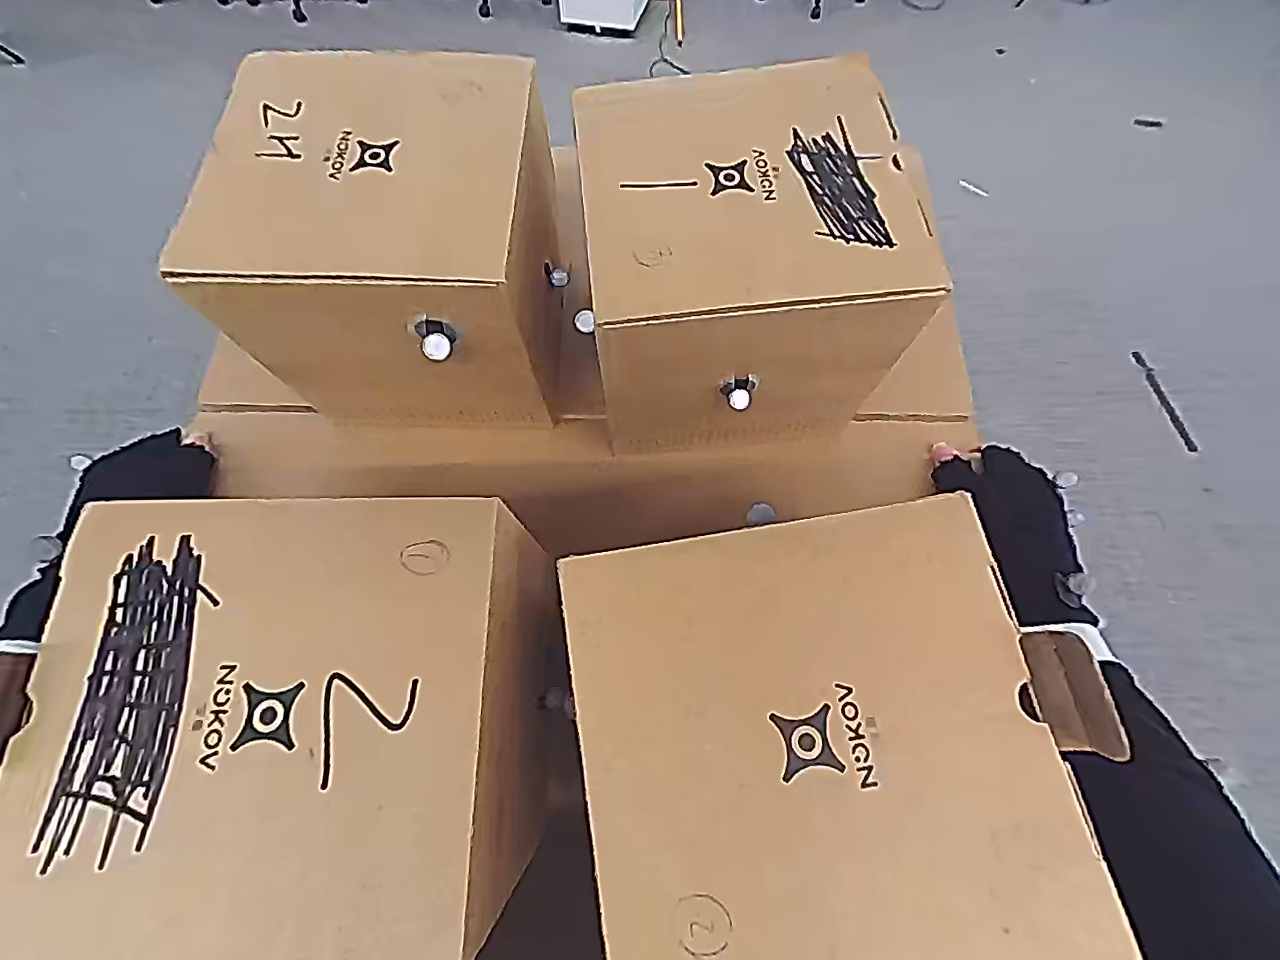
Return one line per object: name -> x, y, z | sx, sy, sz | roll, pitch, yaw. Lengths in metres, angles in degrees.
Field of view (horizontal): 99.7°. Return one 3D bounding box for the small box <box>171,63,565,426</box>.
small box -> -0.153, -0.147, 0.380 | 0.179, 0.176, 0.168 | 2, 69, 2
